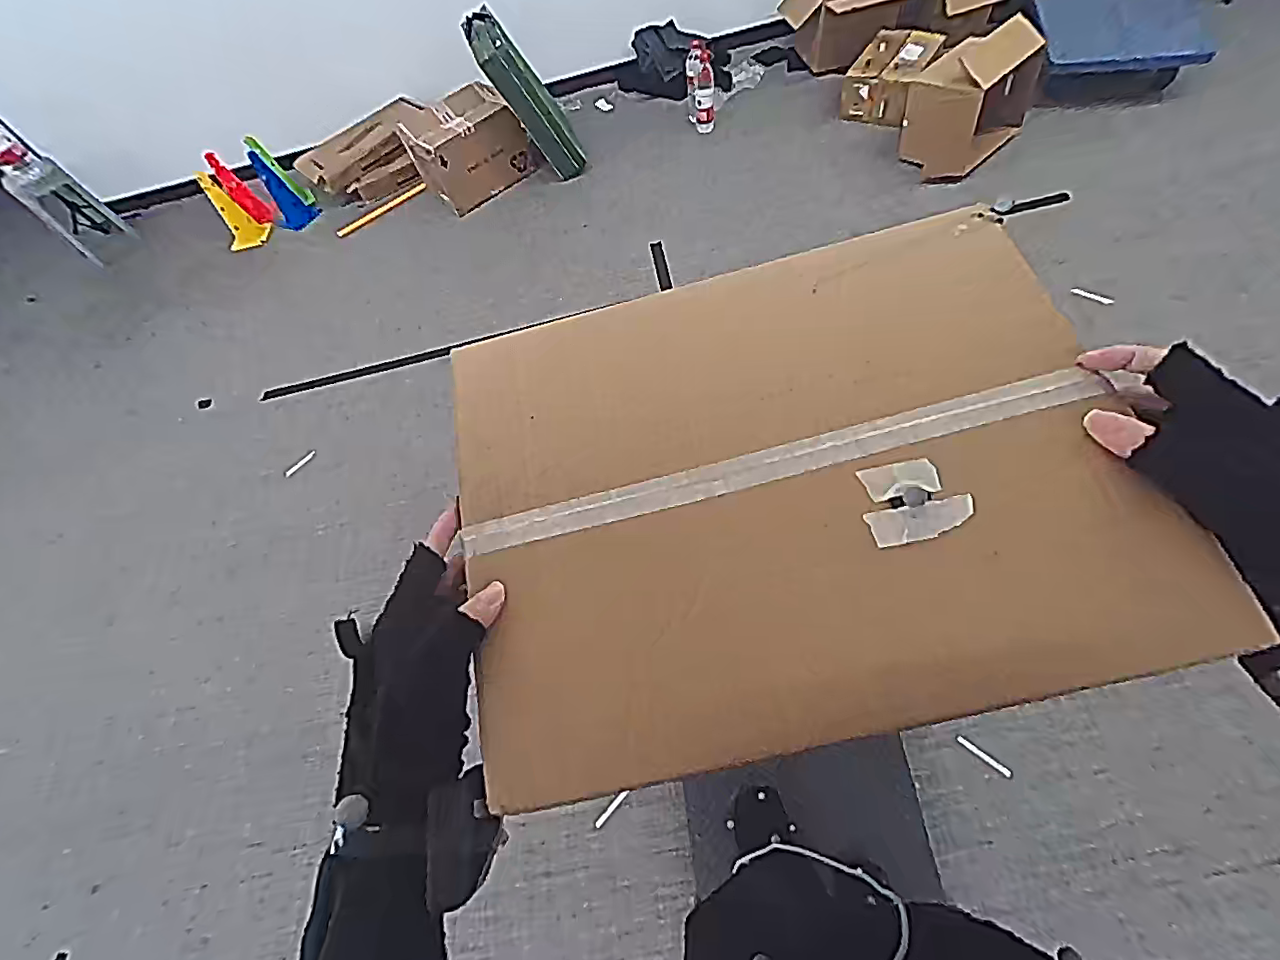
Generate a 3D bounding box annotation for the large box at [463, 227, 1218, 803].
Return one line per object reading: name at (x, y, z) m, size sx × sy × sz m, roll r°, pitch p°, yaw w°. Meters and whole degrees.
large box at (0.104, 0.052, 0.489) m, size 0.408 × 0.320 × 0.320 m, roll -15°, pitch 67°, yaw 3°
